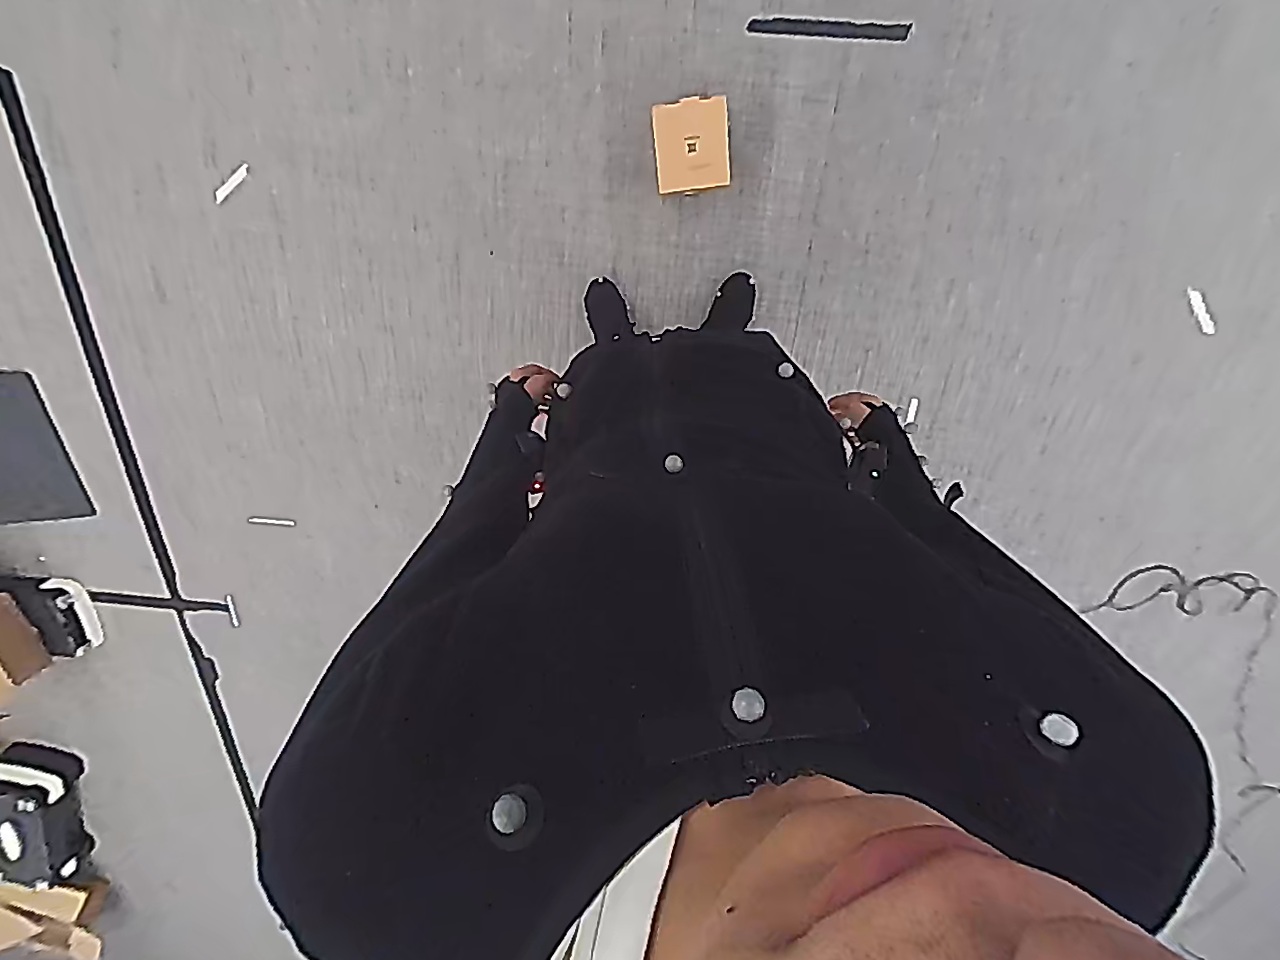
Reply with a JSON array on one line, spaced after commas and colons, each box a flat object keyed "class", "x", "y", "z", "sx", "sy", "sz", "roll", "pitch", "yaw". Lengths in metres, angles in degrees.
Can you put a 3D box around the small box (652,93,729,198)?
[{"class": "small box", "x": 0.116, "y": -0.777, "z": 1.272, "sx": 0.168, "sy": 0.176, "sz": 0.179, "roll": -5, "pitch": 114, "yaw": 5}]
